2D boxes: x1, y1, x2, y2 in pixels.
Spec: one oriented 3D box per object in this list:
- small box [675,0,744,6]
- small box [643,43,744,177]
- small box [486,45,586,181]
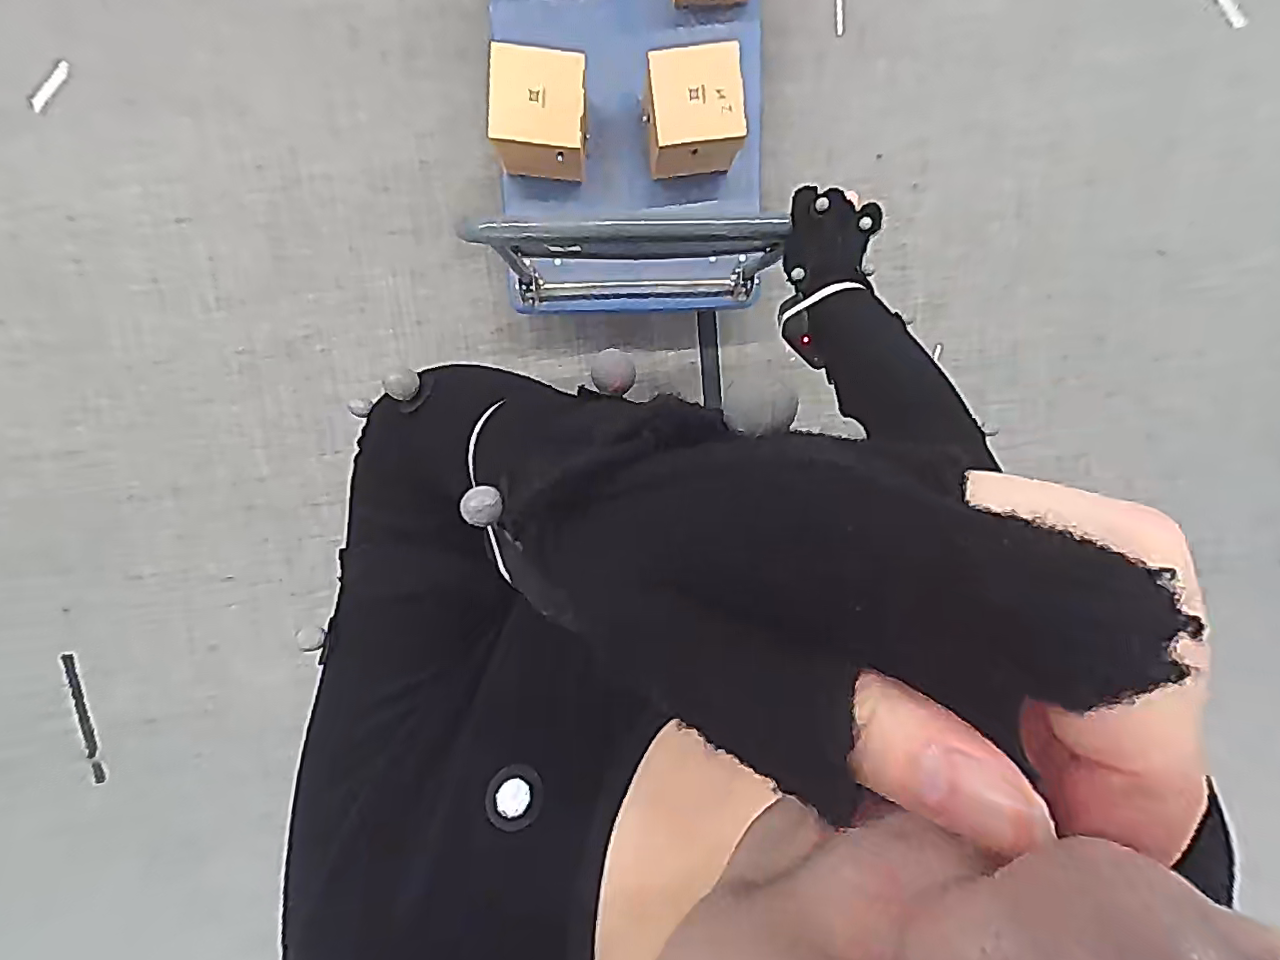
[{"bbox_3d":[0.143,-1.070,1.041,0.168,0.176,0.179,-5,101,-2],"label":"small box"},{"bbox_3d":[0.101,-0.737,1.097,0.179,0.176,0.168,-8,100,-2],"label":"small box"},{"bbox_3d":[-0.202,-0.722,1.083,0.179,0.176,0.168,3,99,-5],"label":"small box"}]
